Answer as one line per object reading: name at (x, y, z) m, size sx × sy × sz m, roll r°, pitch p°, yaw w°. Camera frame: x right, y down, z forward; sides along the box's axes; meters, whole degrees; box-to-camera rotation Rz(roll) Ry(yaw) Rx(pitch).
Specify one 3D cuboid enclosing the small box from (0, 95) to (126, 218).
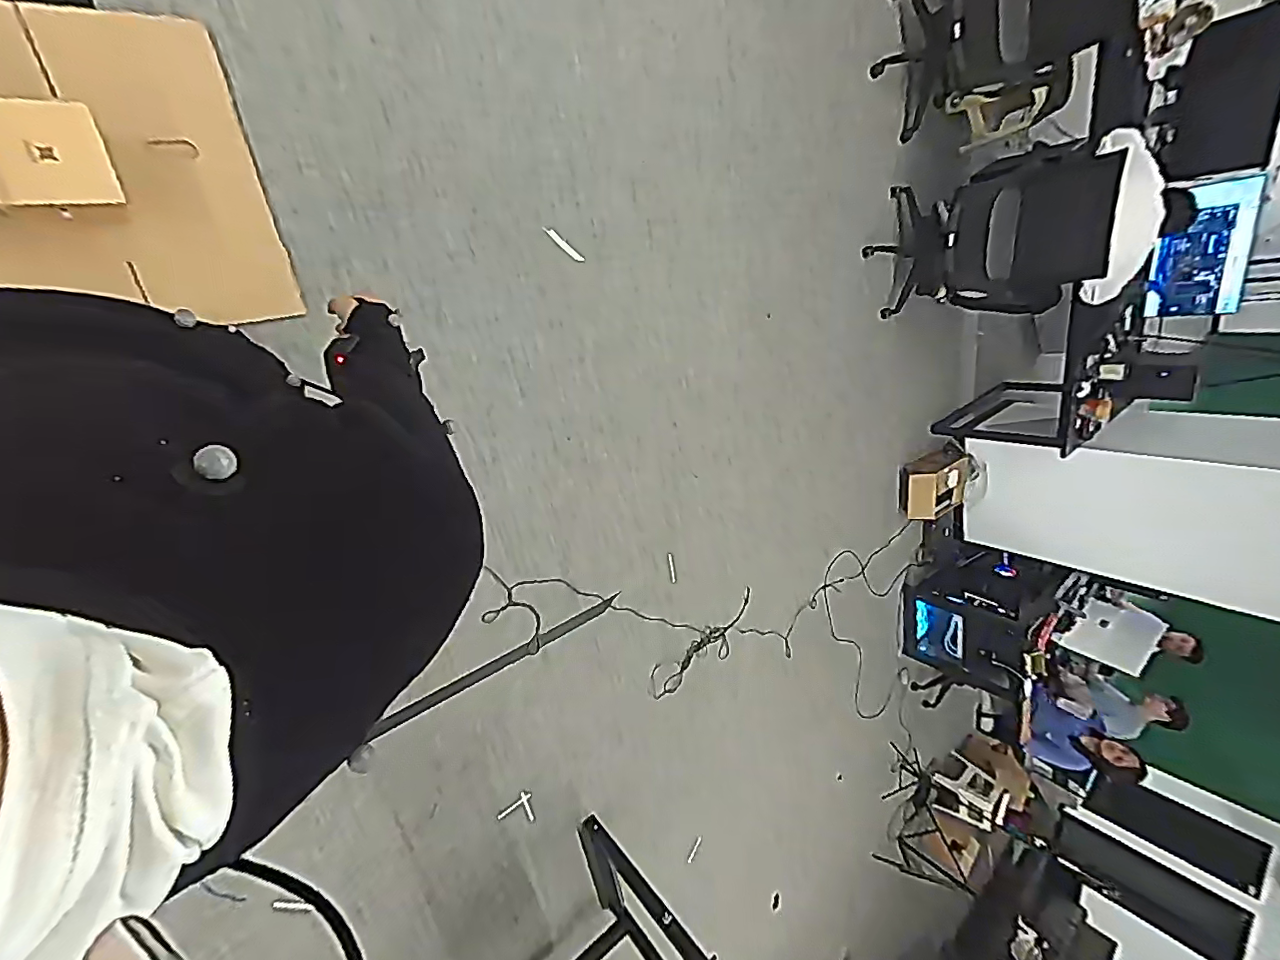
small box at (-1.105, -0.595, 1.010) m, size 0.179 × 0.176 × 0.168 m, roll -21°, pitch 113°, yaw -33°
